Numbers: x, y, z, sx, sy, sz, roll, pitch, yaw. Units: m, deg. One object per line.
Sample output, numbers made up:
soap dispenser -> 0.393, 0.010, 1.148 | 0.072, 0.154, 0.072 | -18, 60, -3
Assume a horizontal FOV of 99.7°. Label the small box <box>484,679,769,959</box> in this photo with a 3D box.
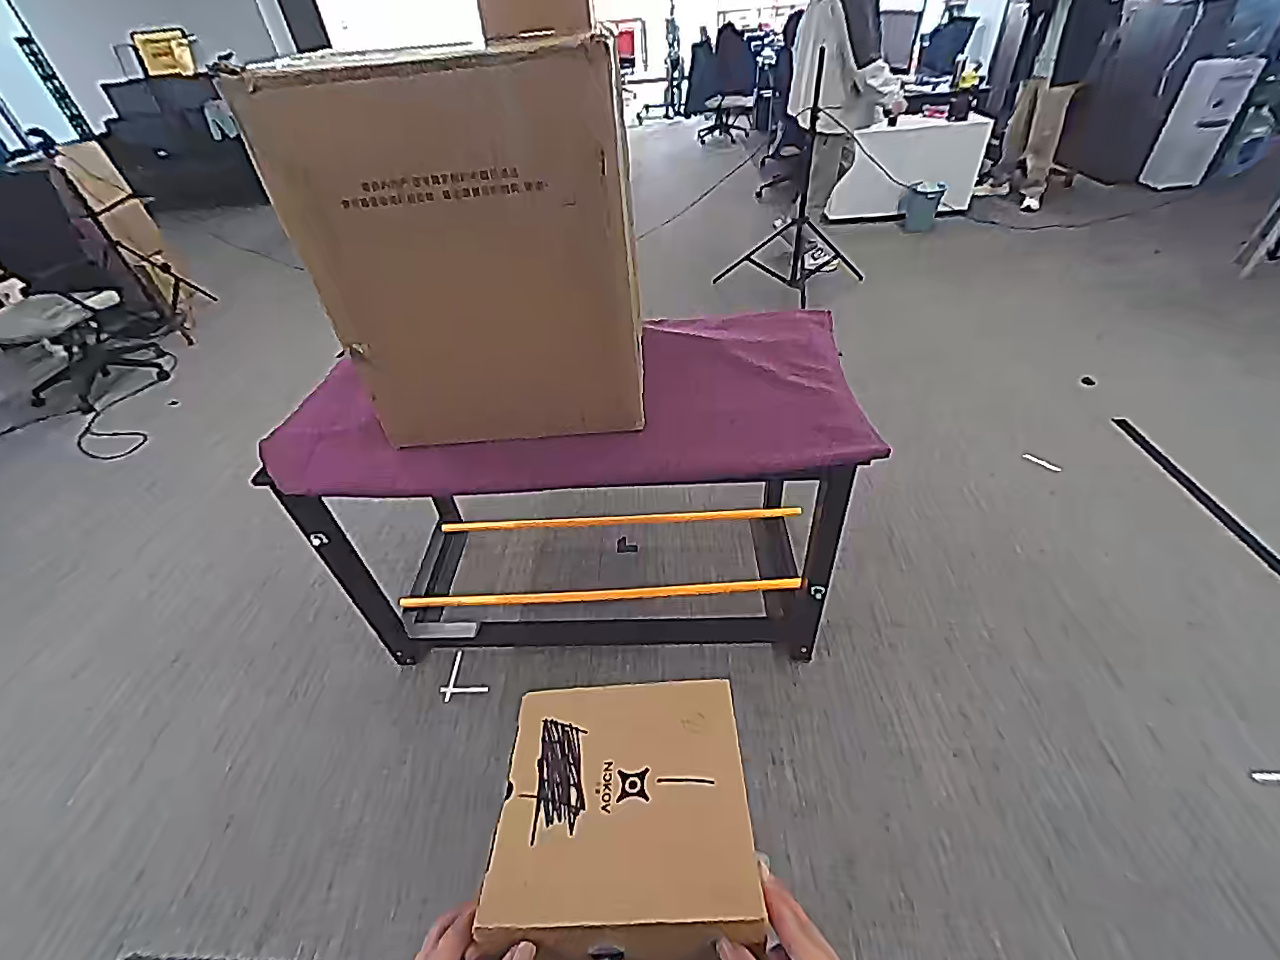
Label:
small box -> 0.001, 0.285, 0.427 | 0.179, 0.176, 0.168 | -5, 32, 3
